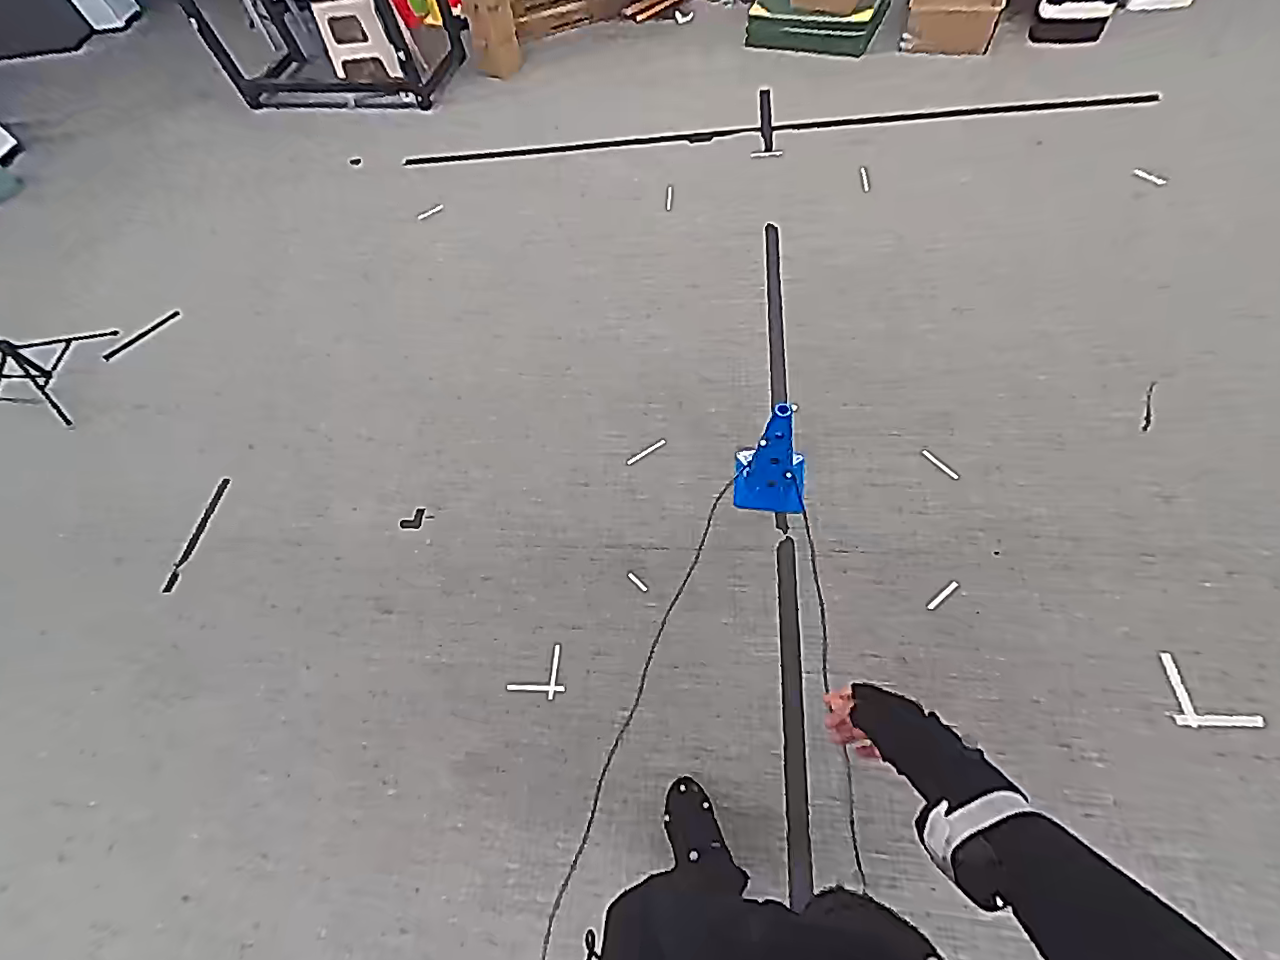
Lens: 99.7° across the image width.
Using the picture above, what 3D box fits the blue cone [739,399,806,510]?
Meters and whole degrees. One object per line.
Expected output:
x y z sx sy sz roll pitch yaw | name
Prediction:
0.362 -0.079 1.432 0.193 0.380 0.192 3 62 10 | blue cone
